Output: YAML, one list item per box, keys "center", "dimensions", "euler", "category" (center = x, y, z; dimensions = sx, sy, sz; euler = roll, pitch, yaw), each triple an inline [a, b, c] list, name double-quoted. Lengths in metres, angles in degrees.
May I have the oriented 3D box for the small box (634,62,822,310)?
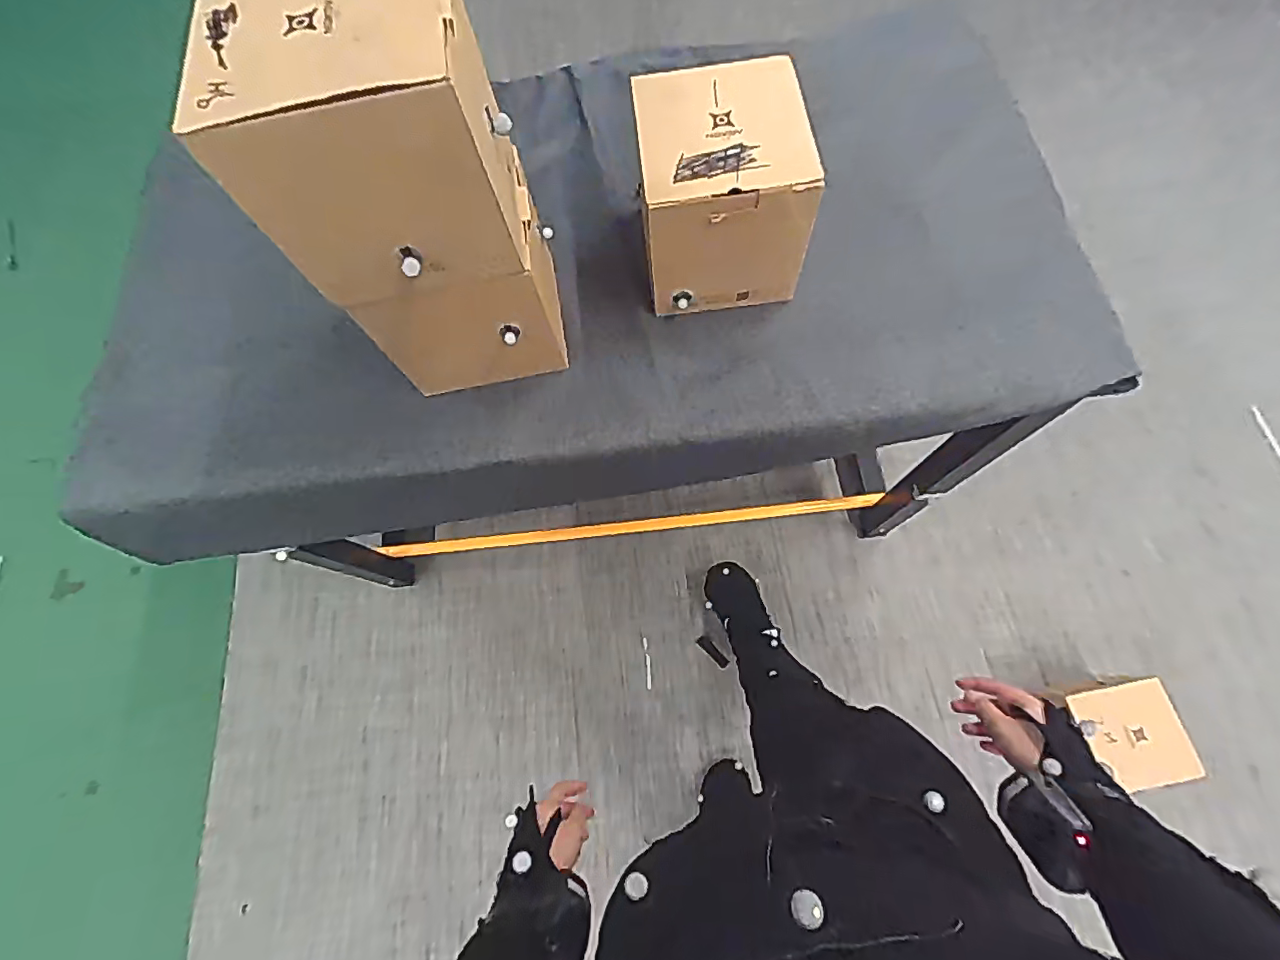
- center: [0.087, -0.307, 0.597]
  dimensions: [0.168, 0.176, 0.179]
  euler: [-6, 69, 3]
  category: "small box"

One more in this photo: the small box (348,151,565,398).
- center: [-0.185, -0.210, 0.589]
  dimensions: [0.179, 0.176, 0.168]
  euler: [-12, 68, 2]
  category: "small box"

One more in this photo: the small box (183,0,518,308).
- center: [-0.204, -0.266, 0.435]
  dimensions: [0.179, 0.176, 0.168]
  euler: [-11, 69, 1]
  category: "small box"

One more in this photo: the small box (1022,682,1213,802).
- center: [0.879, 0.481, 1.017]
  dimensions: [0.179, 0.176, 0.168]
  euler: [-12, 69, 1]
  category: "small box"
